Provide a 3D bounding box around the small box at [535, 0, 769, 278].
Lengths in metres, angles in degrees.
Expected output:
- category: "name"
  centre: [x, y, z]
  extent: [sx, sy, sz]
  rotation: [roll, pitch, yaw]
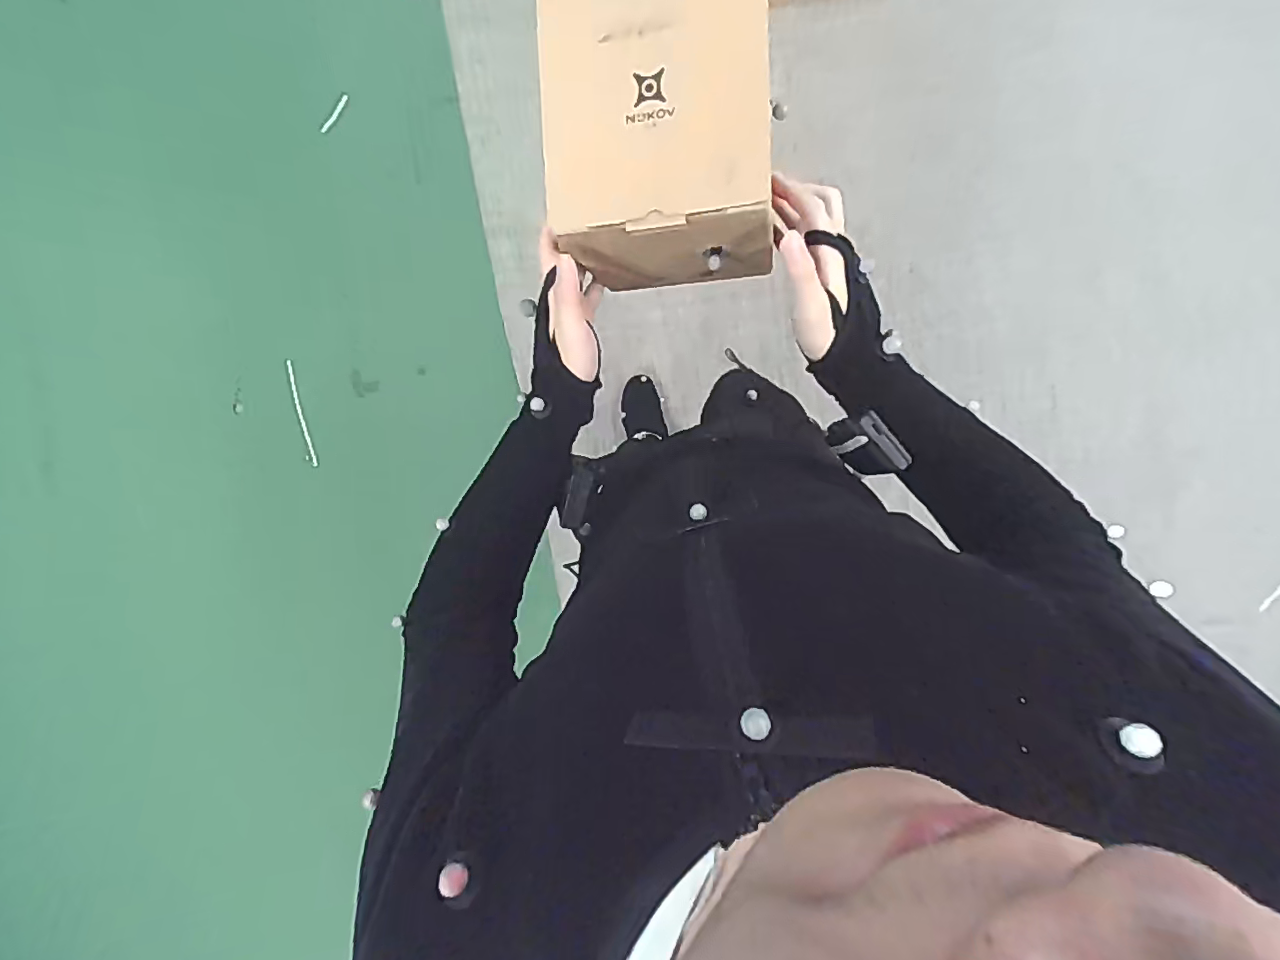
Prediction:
- category: "small box"
  centre: [0.023, -0.281, 0.456]
  extent: [0.168, 0.176, 0.179]
  rotation: [0, 93, 13]
